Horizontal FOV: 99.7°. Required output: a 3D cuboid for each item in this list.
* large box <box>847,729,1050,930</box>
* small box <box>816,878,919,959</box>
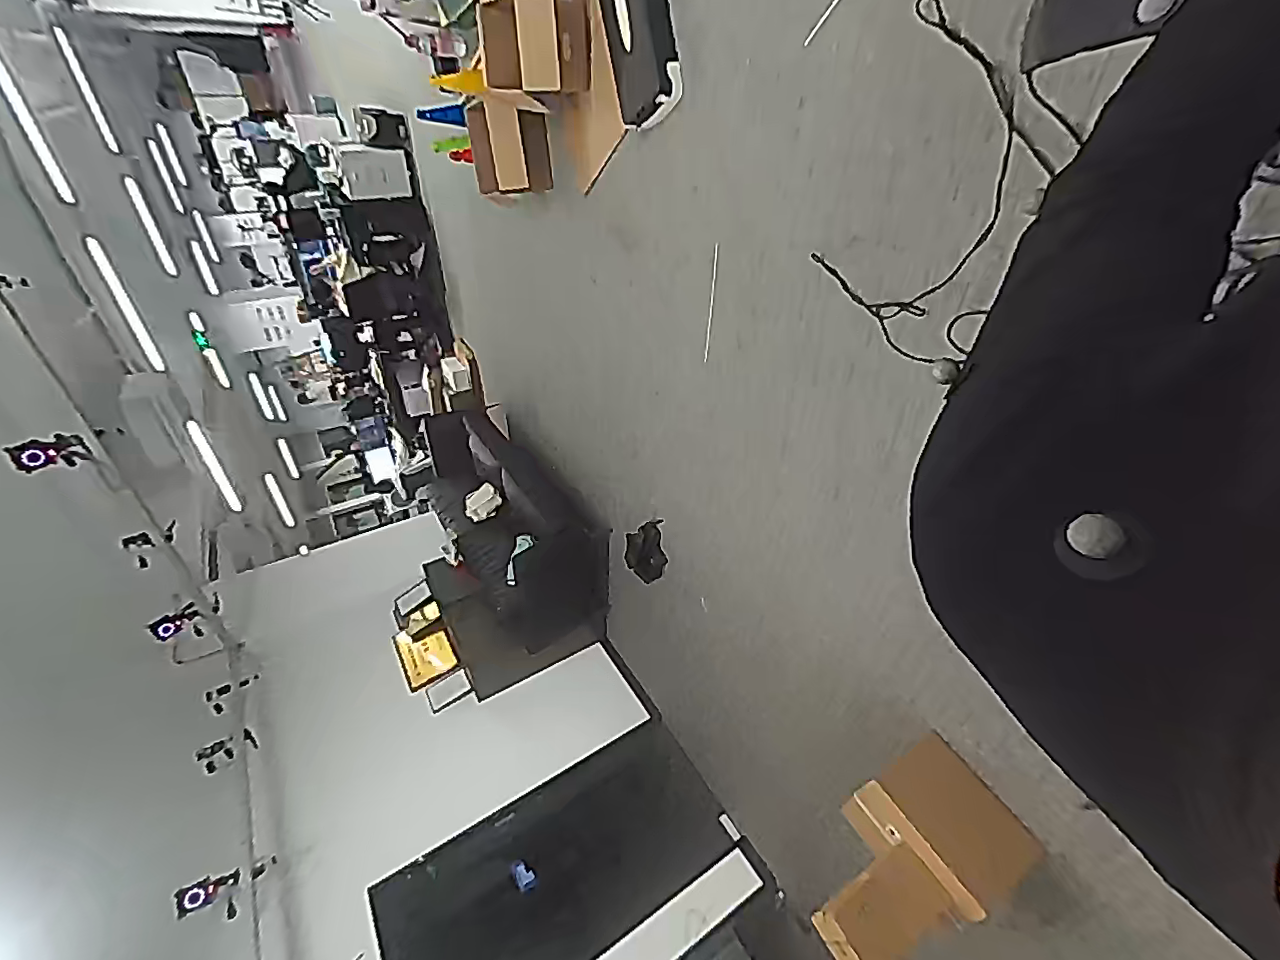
[{"bbox_3d":[0.963,1.104,1.729,0.408,0.320,0.320,51,147,37],"label":"large box"},{"bbox_3d":[0.642,1.269,1.533,0.179,0.176,0.168,52,150,32],"label":"small box"}]
